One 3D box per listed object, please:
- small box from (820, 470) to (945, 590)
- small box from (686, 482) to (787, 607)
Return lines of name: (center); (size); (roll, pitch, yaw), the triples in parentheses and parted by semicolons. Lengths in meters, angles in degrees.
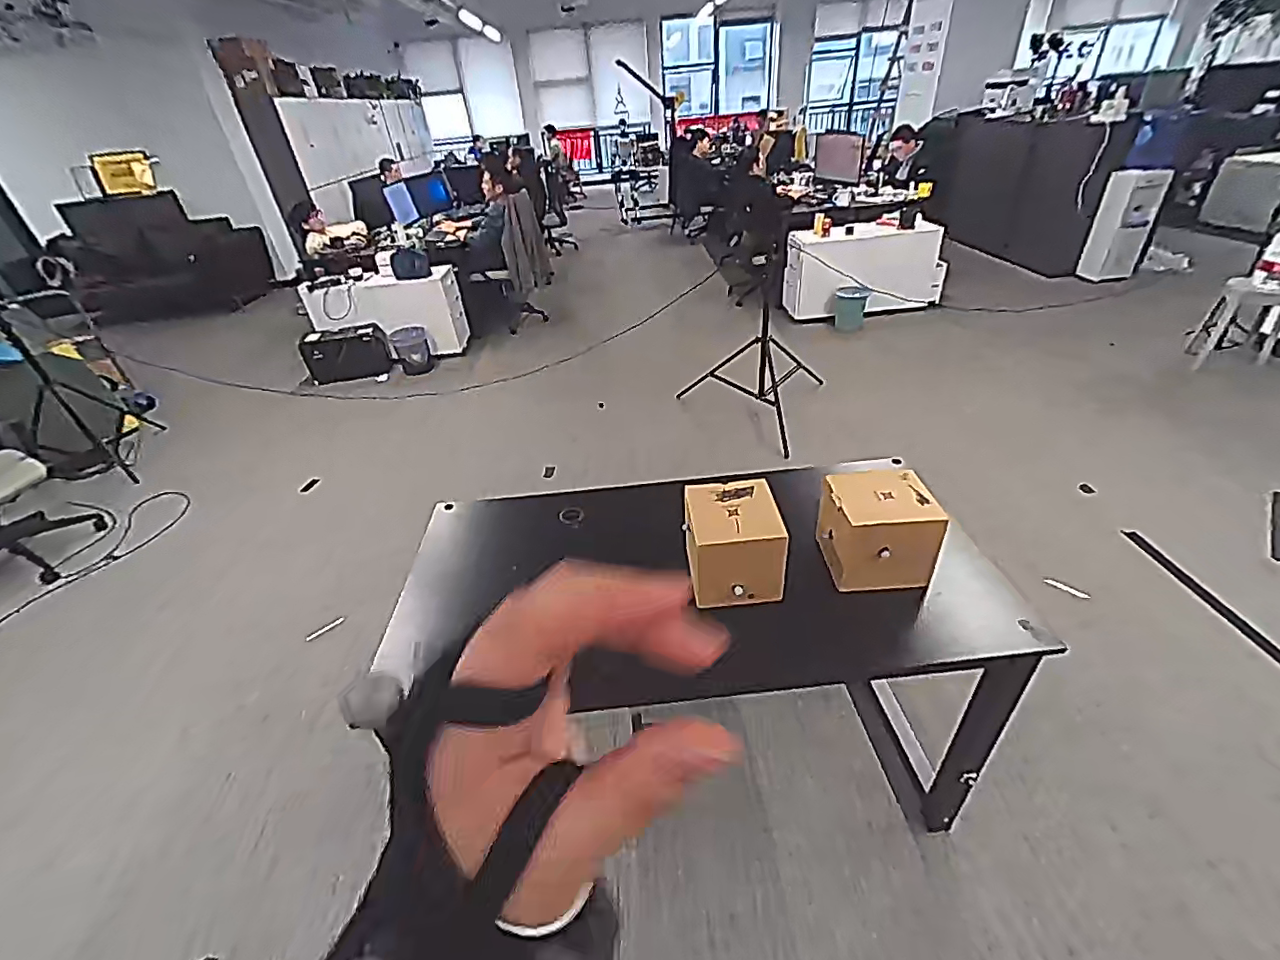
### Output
small box: (0.460, 0.099, 1.061); (0.179, 0.176, 0.168); (-5, 35, 3)
small box: (0.180, 0.125, 1.064); (0.168, 0.176, 0.179); (-6, 35, 0)
